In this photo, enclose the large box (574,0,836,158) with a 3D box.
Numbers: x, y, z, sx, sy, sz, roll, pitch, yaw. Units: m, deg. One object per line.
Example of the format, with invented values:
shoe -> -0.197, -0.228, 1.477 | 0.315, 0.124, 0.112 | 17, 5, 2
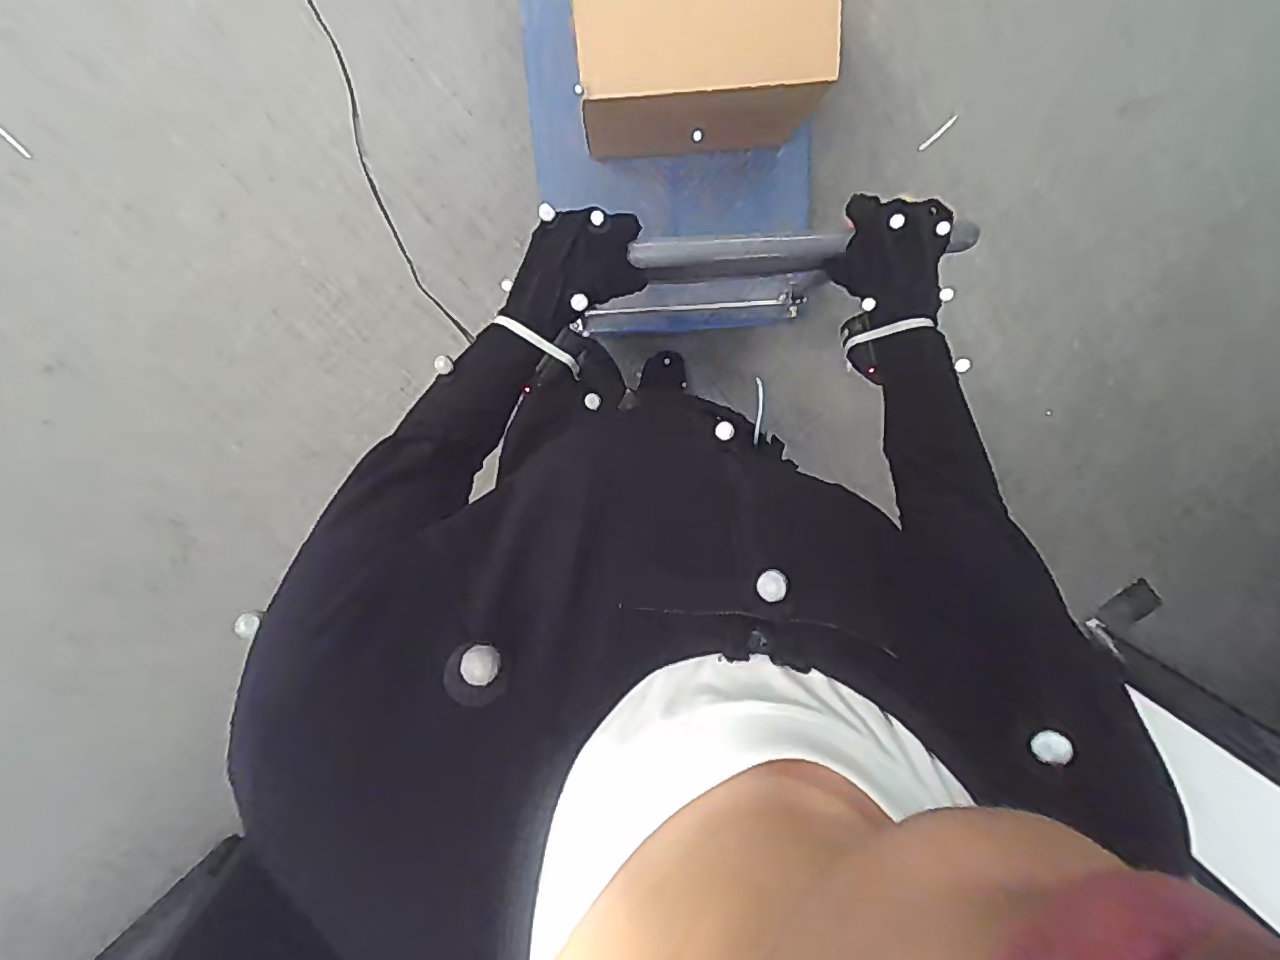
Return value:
large box -> 0.096, -0.798, 0.956 | 0.408, 0.320, 0.320 | -5, 105, 0
